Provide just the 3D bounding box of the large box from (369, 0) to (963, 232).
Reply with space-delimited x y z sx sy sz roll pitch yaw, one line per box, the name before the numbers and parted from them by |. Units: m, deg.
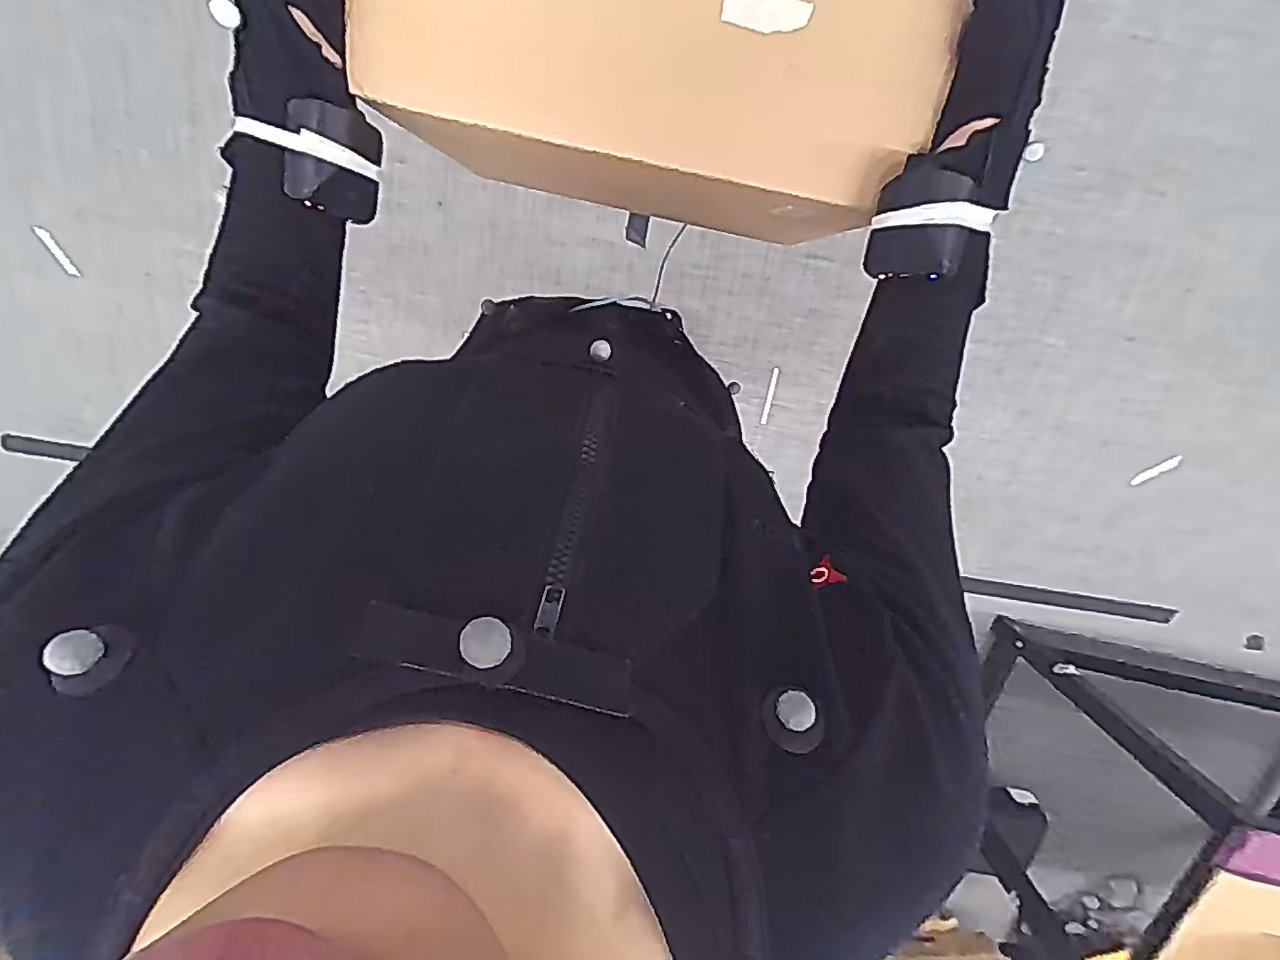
large box | 0.026 -0.433 0.482 0.408 0.320 0.320 9 111 -5
